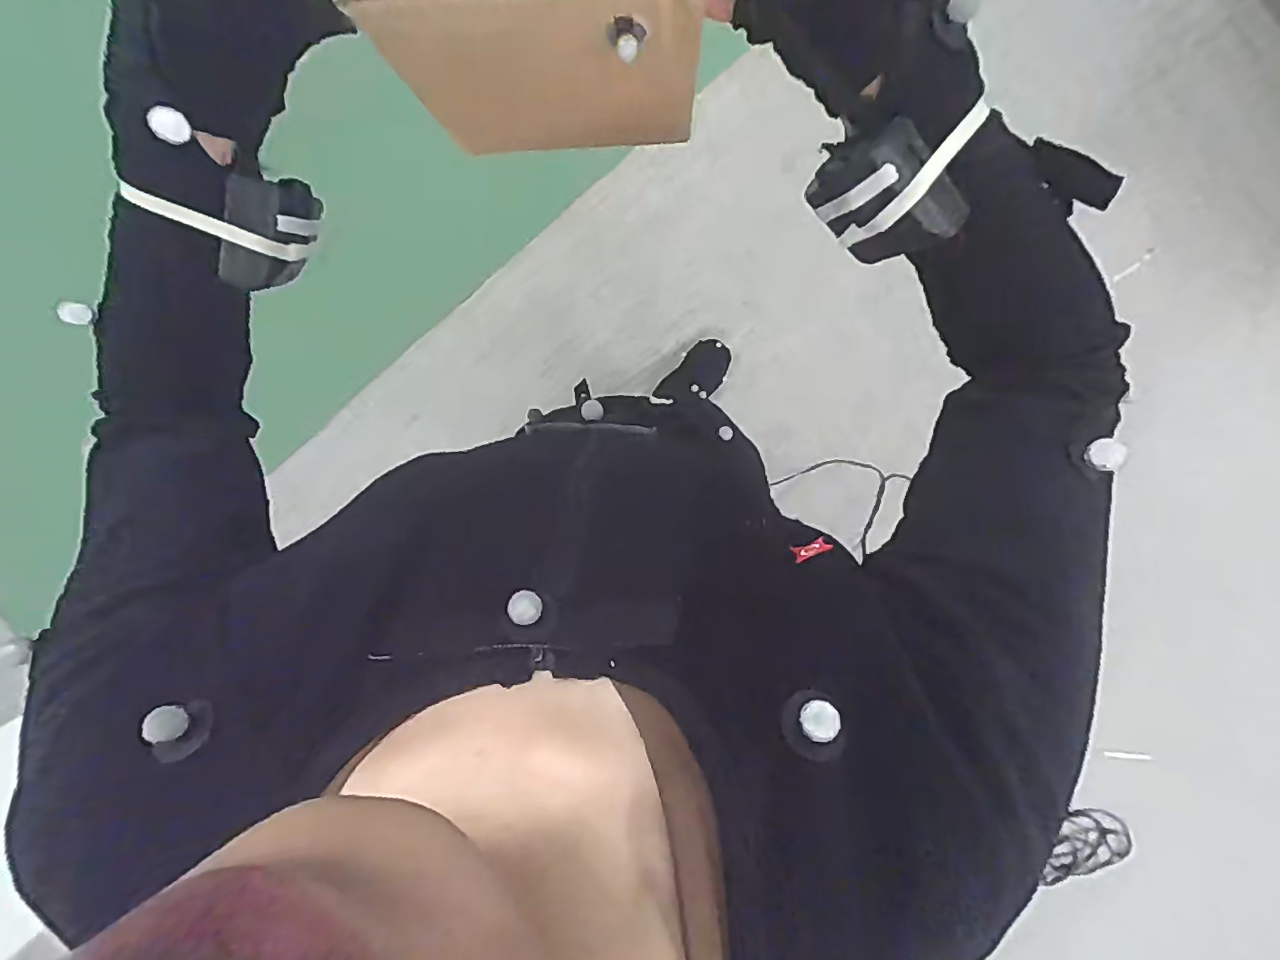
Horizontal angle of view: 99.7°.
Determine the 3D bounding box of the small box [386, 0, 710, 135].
[{"bbox_3d":[-0.048,-0.329,0.318,0.179,0.176,0.168,-2,101,1],"label":"small box"}]
